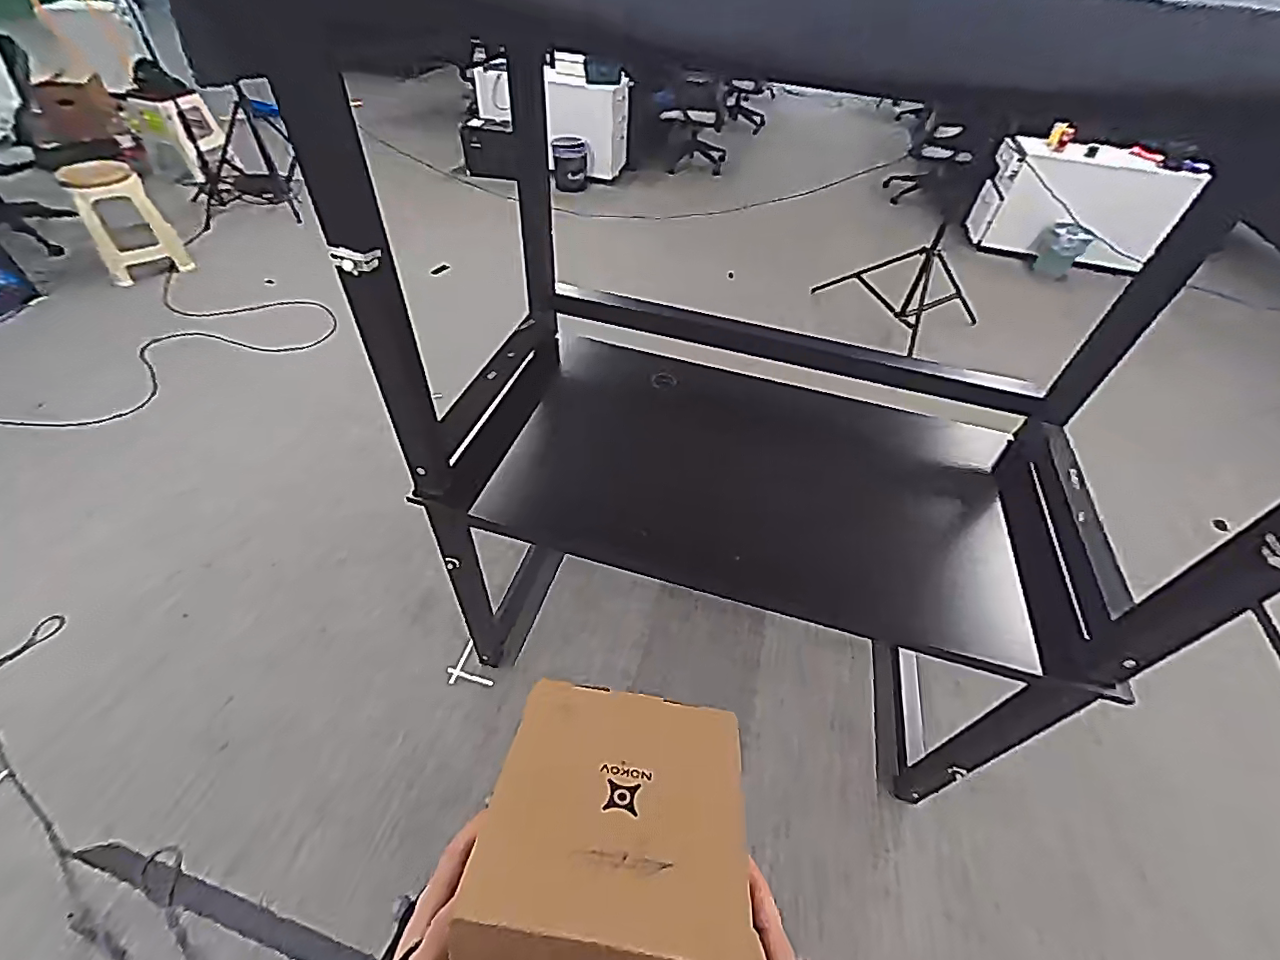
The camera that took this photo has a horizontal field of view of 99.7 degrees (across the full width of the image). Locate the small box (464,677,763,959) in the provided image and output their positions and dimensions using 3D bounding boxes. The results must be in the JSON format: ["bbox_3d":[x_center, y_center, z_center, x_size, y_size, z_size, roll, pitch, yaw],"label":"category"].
[{"bbox_3d":[-0.017,0.279,0.391,0.168,0.176,0.179,8,25,3],"label":"small box"}]
